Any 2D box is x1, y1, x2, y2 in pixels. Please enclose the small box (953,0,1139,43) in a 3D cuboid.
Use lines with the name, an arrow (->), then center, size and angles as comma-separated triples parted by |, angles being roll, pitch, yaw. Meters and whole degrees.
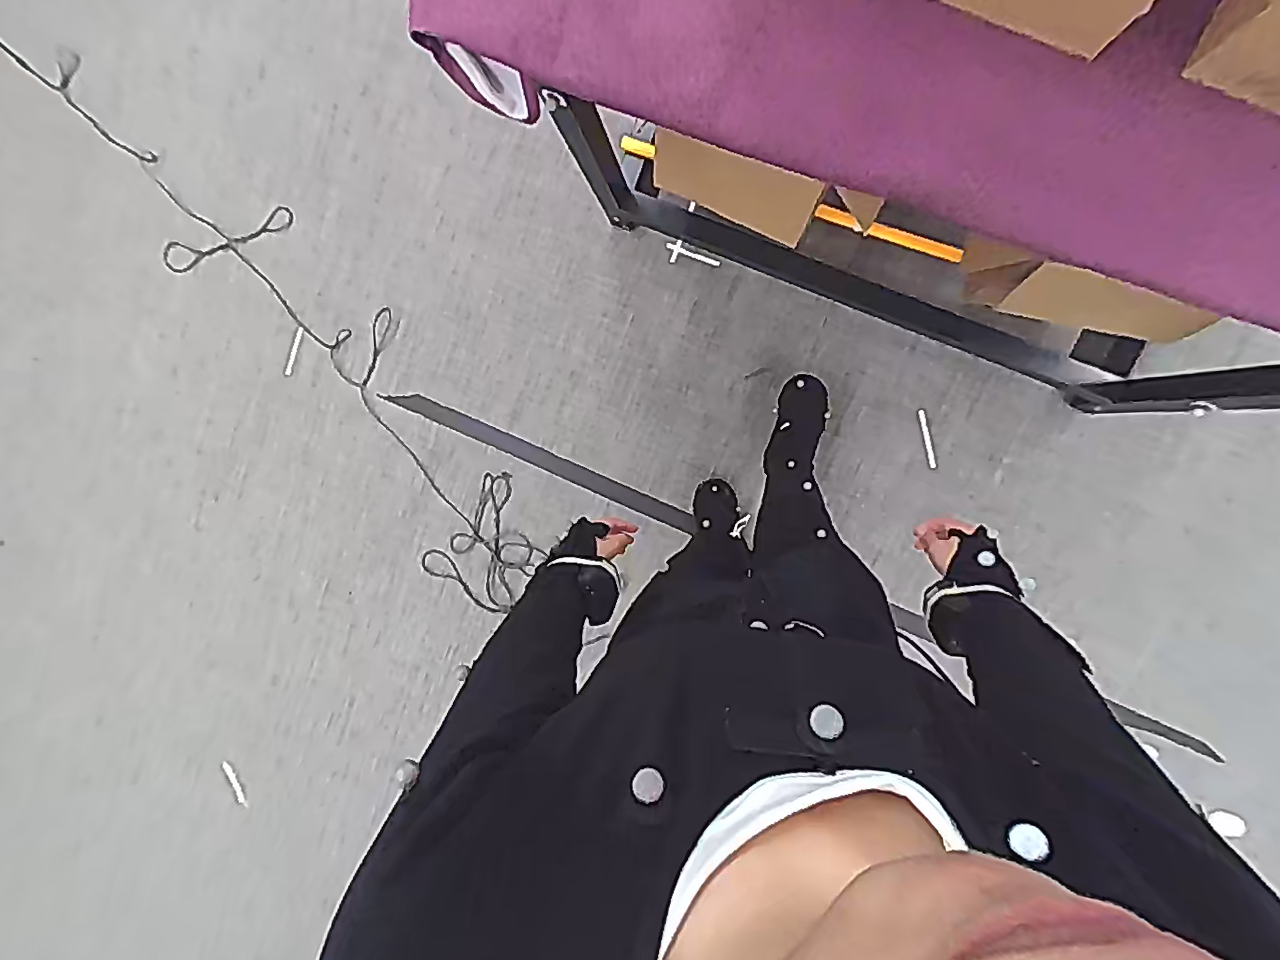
small box -> 0.375, -0.504, 0.429 | 0.179, 0.176, 0.168 | 26, 99, 6
